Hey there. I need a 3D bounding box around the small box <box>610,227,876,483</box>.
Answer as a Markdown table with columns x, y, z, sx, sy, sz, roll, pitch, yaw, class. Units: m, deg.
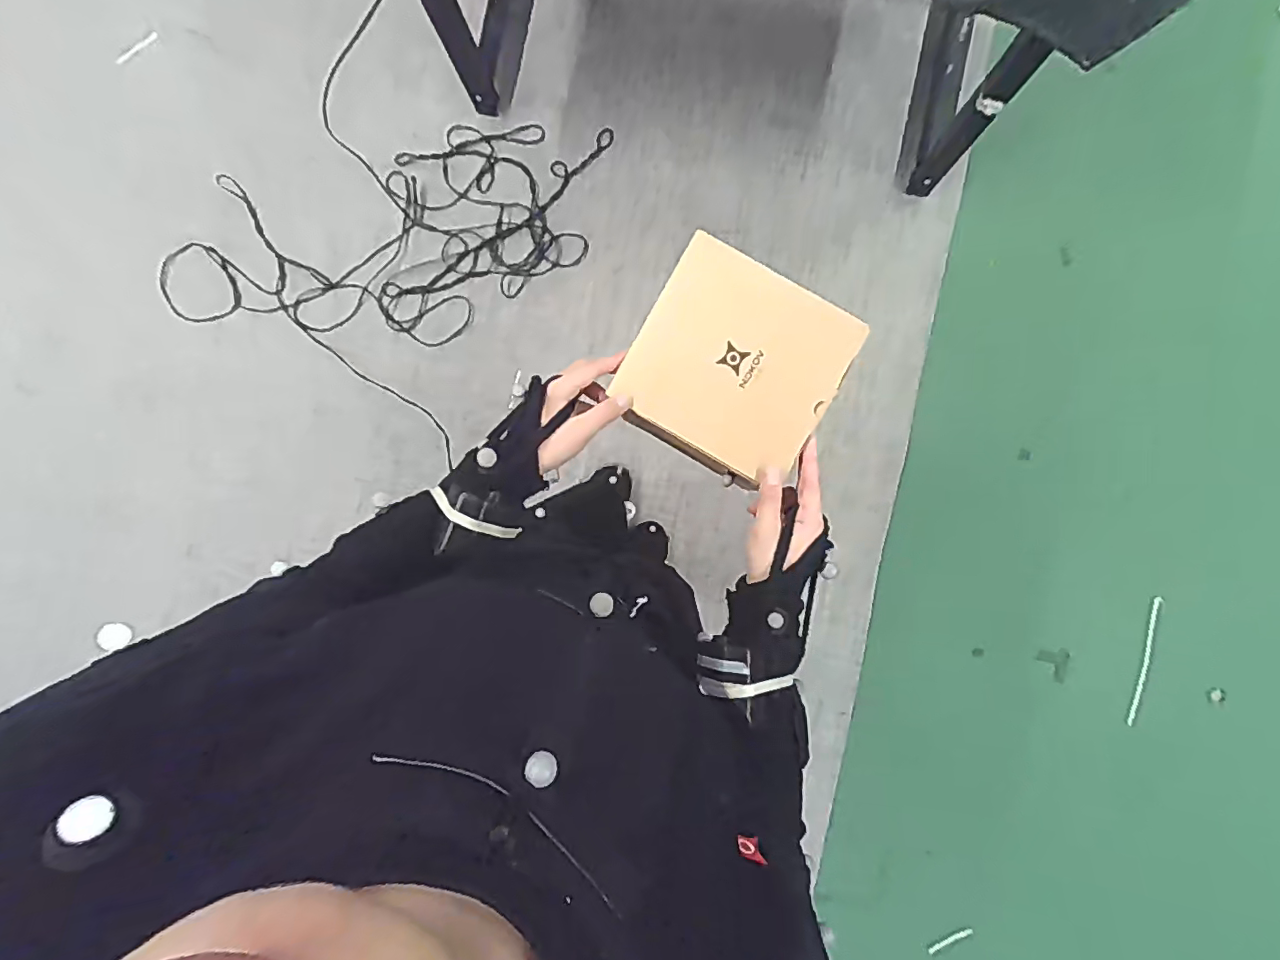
| x | y | z | sx | sy | sz | roll | pitch | yaw | class |
| --- | --- | --- | --- | --- | --- | --- | --- | --- | --- |
| 0.089 | -0.107 | 0.542 | 0.179 | 0.176 | 0.168 | 30 | 91 | 0 | small box |
